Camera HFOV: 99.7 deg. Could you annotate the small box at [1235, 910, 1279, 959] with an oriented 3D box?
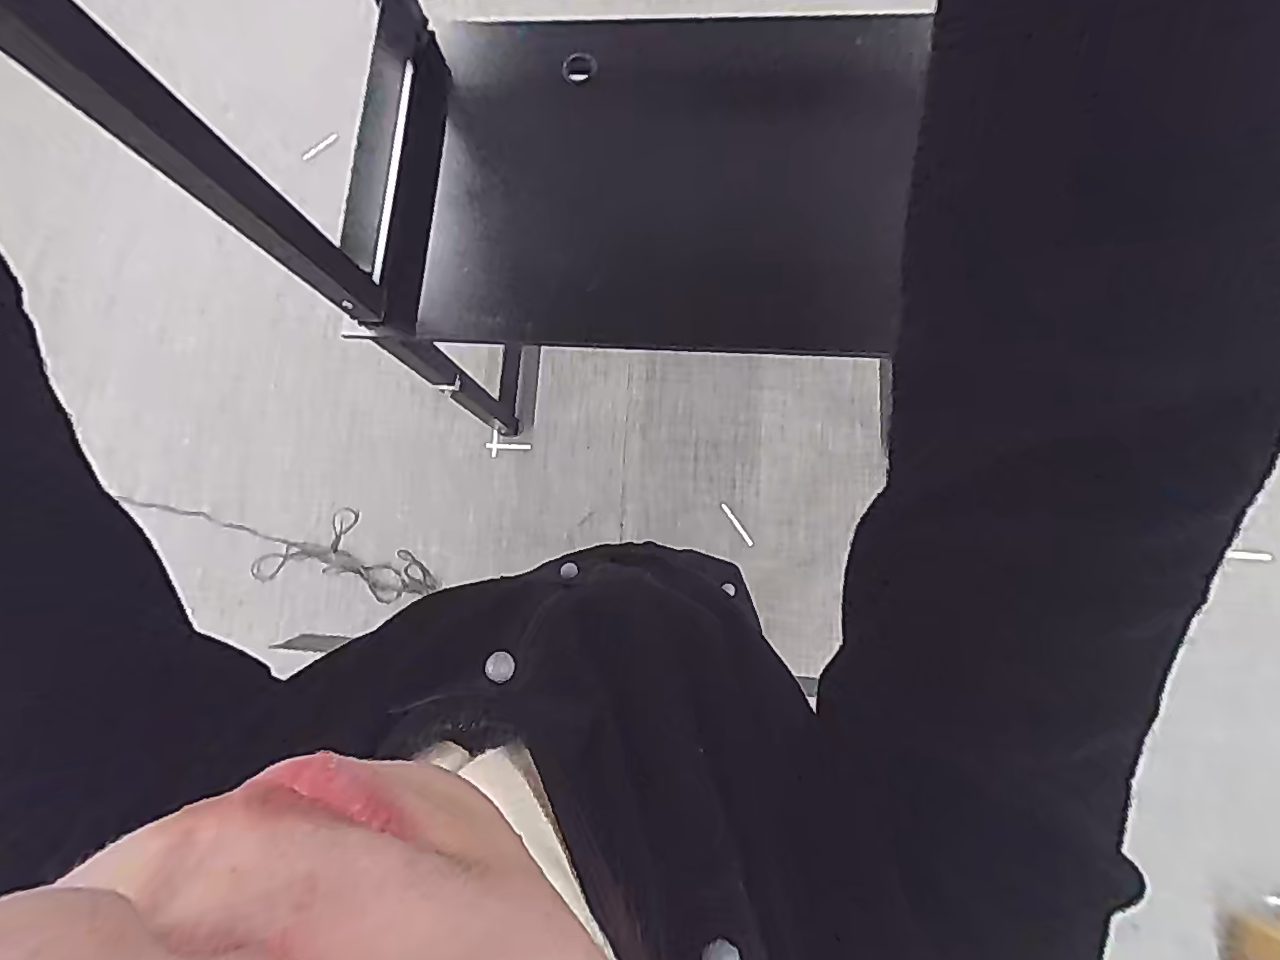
[{"bbox_3d":[1.446,1.080,1.157,0.168,0.176,0.179,5,81,5],"label":"small box"}]
